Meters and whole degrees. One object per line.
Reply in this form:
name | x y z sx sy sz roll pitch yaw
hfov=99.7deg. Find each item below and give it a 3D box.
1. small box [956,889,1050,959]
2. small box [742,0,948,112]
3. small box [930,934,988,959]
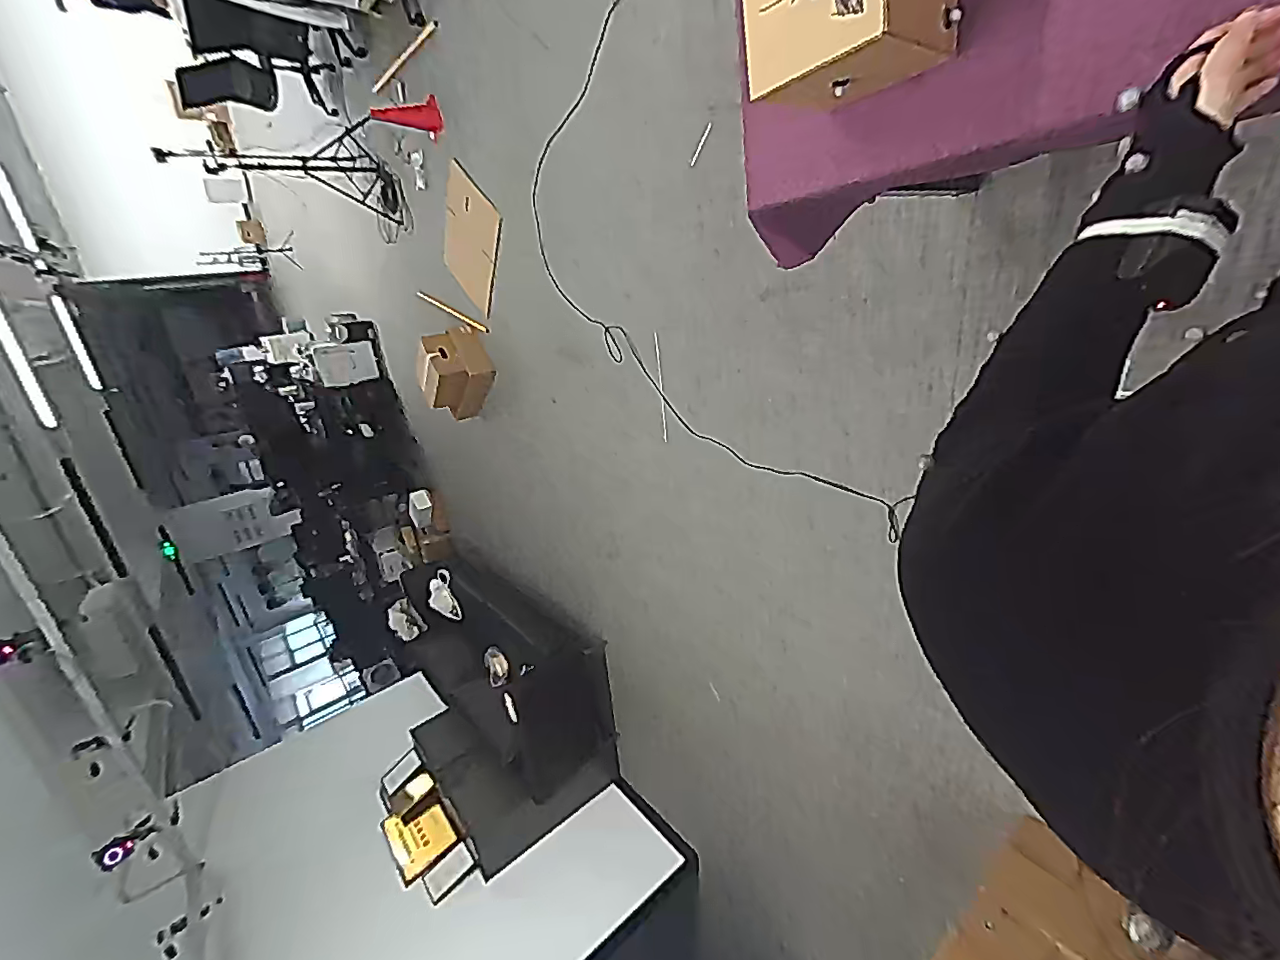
small box | 0.922 1.221 1.399 0.168 0.176 0.179 29 132 45
small box | 0.241 -0.558 0.631 0.179 0.176 0.168 13 117 51
small box | 0.789 1.262 1.314 0.179 0.176 0.168 29 130 44
